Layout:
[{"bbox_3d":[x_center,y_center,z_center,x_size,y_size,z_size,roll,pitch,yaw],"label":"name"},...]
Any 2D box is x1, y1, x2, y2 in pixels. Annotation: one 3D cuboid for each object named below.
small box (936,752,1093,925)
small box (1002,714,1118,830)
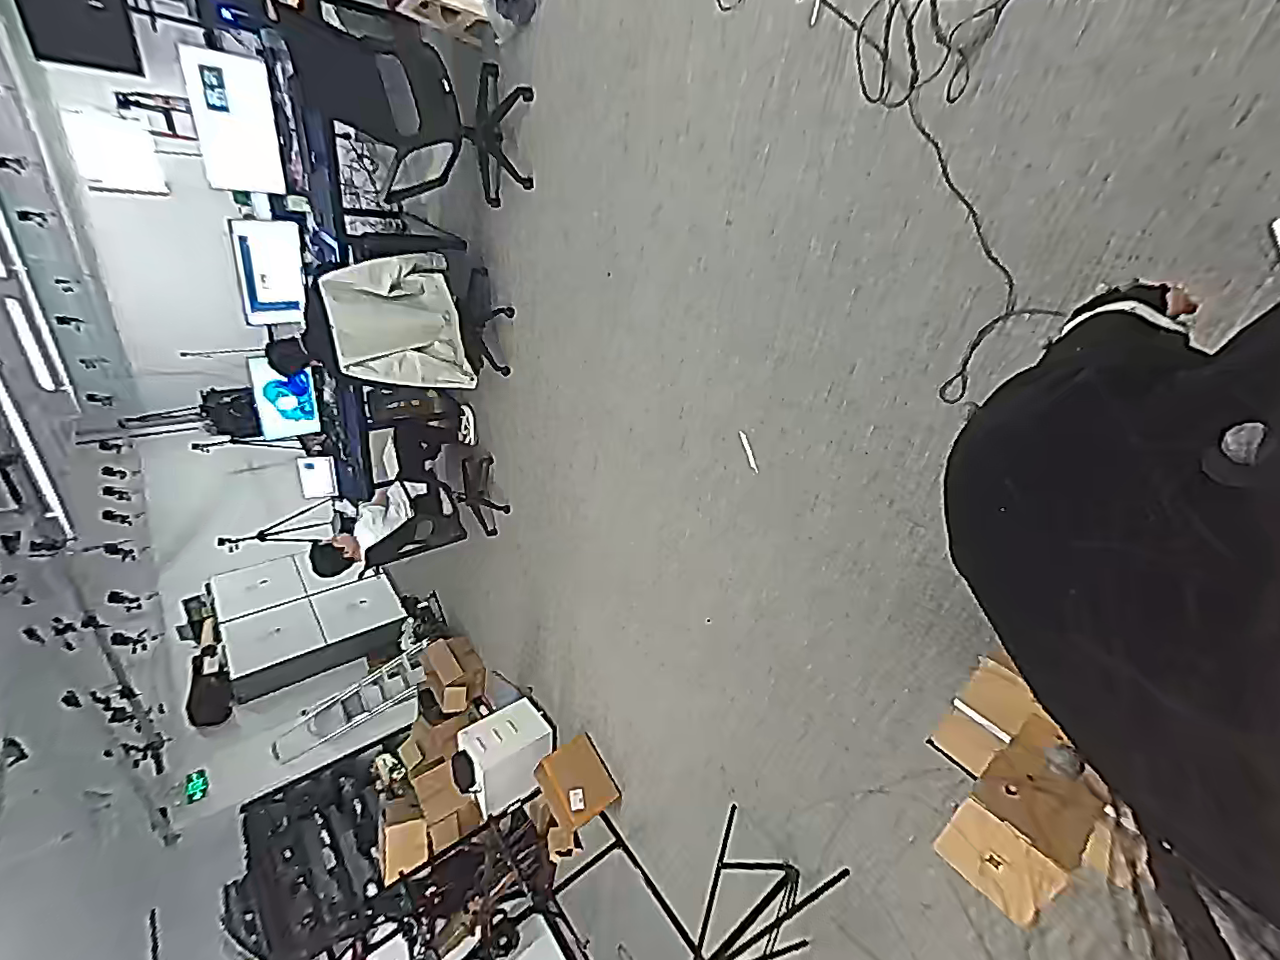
[{"bbox_3d":[0.693,0.648,0.998,0.168,0.176,0.179,35,129,41],"label":"small box"},{"bbox_3d":[0.820,0.620,1.096,0.168,0.176,0.179,35,128,39],"label":"small box"}]
